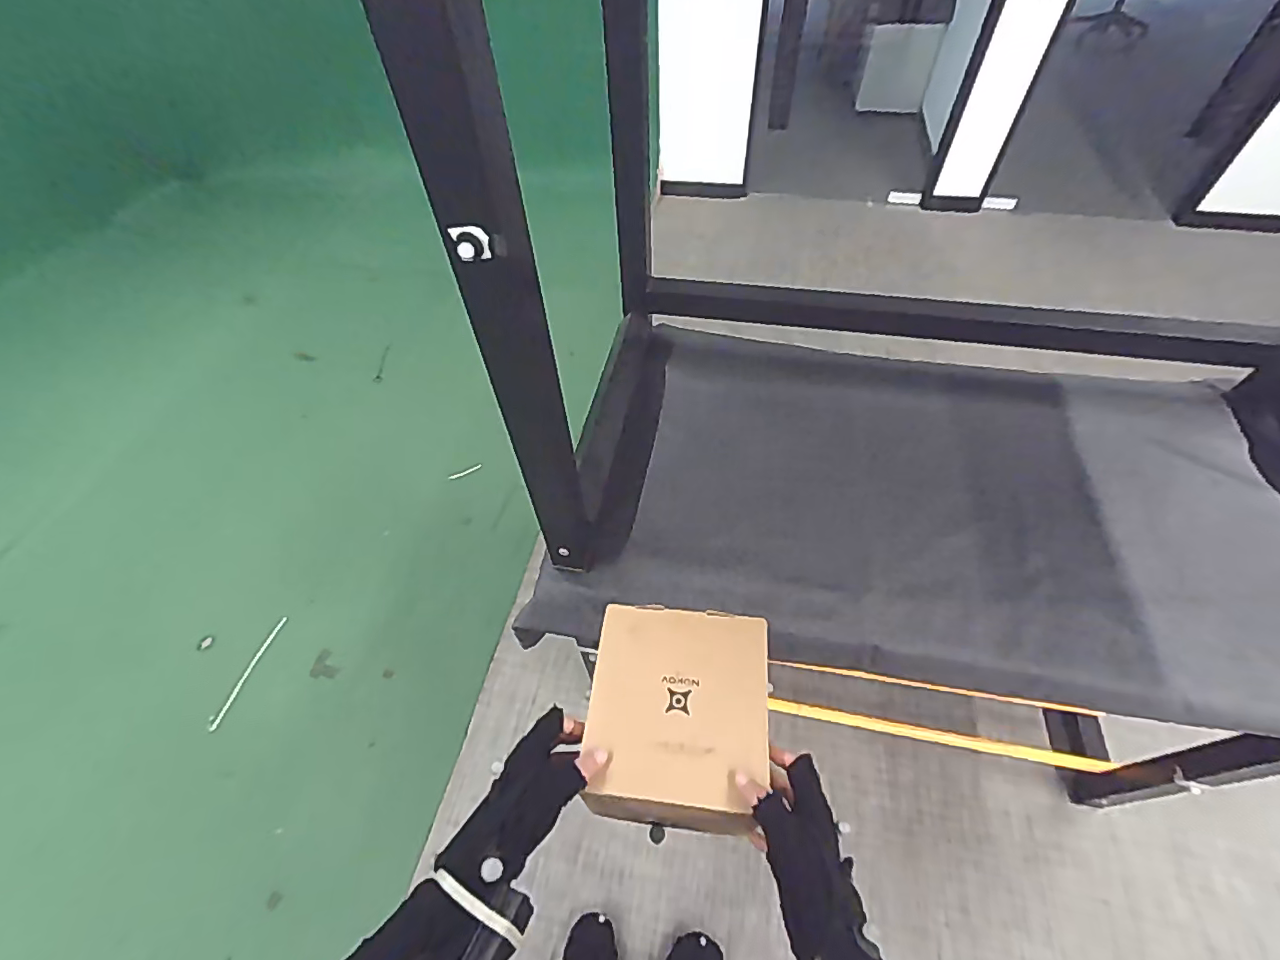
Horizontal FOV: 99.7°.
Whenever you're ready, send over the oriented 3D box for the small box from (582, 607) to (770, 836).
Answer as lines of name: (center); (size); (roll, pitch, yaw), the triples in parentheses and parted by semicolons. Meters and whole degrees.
small box: (0.043, 0.257, 0.574); (0.168, 0.176, 0.179); (3, 52, 7)
